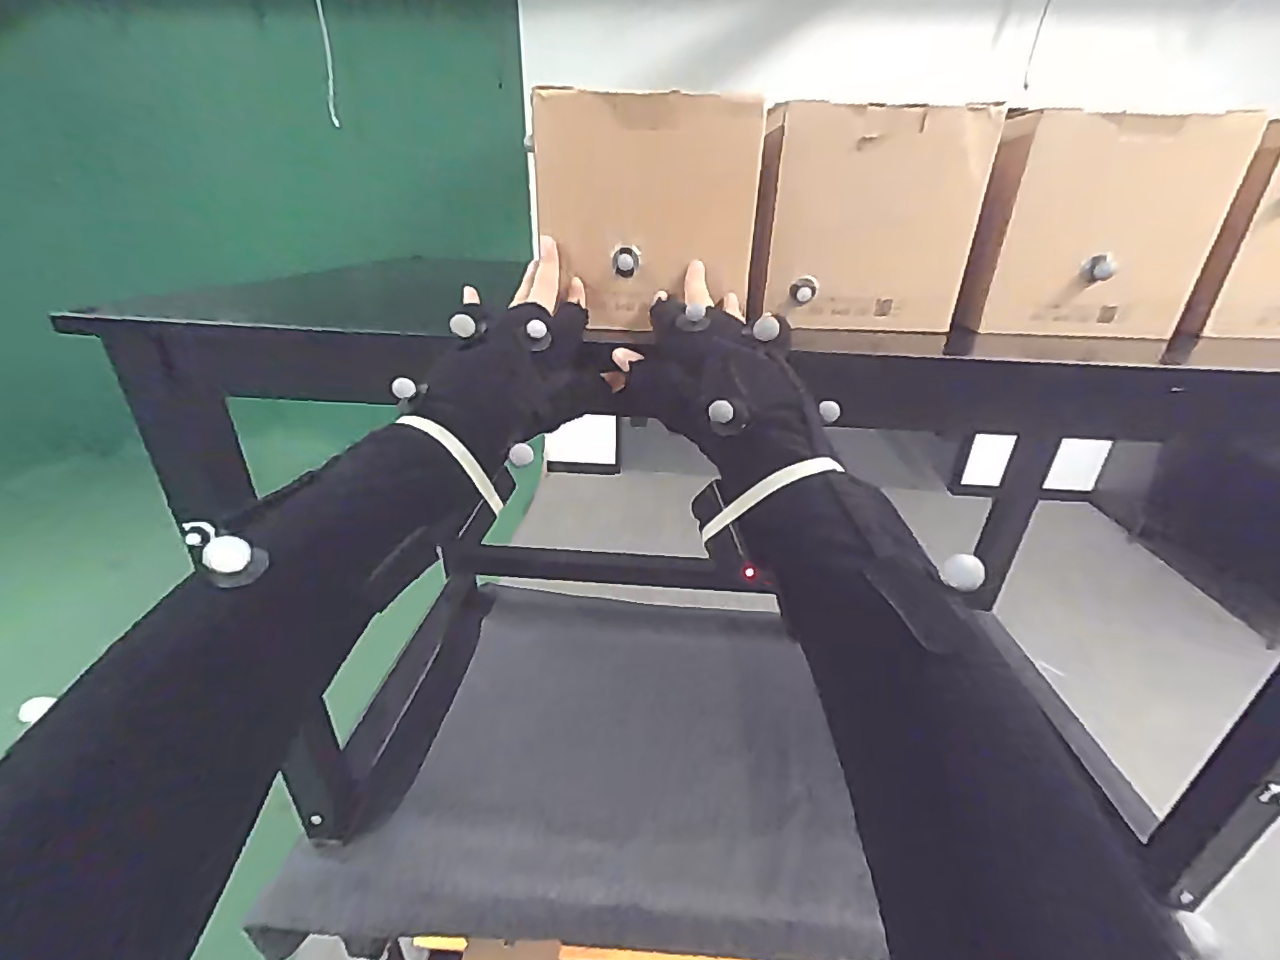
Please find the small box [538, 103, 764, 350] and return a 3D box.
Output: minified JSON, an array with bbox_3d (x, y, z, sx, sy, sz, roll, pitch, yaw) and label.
[{"bbox_3d":[0.007,-0.225,0.493,0.168,0.176,0.179,2,27,1],"label":"small box"}]
